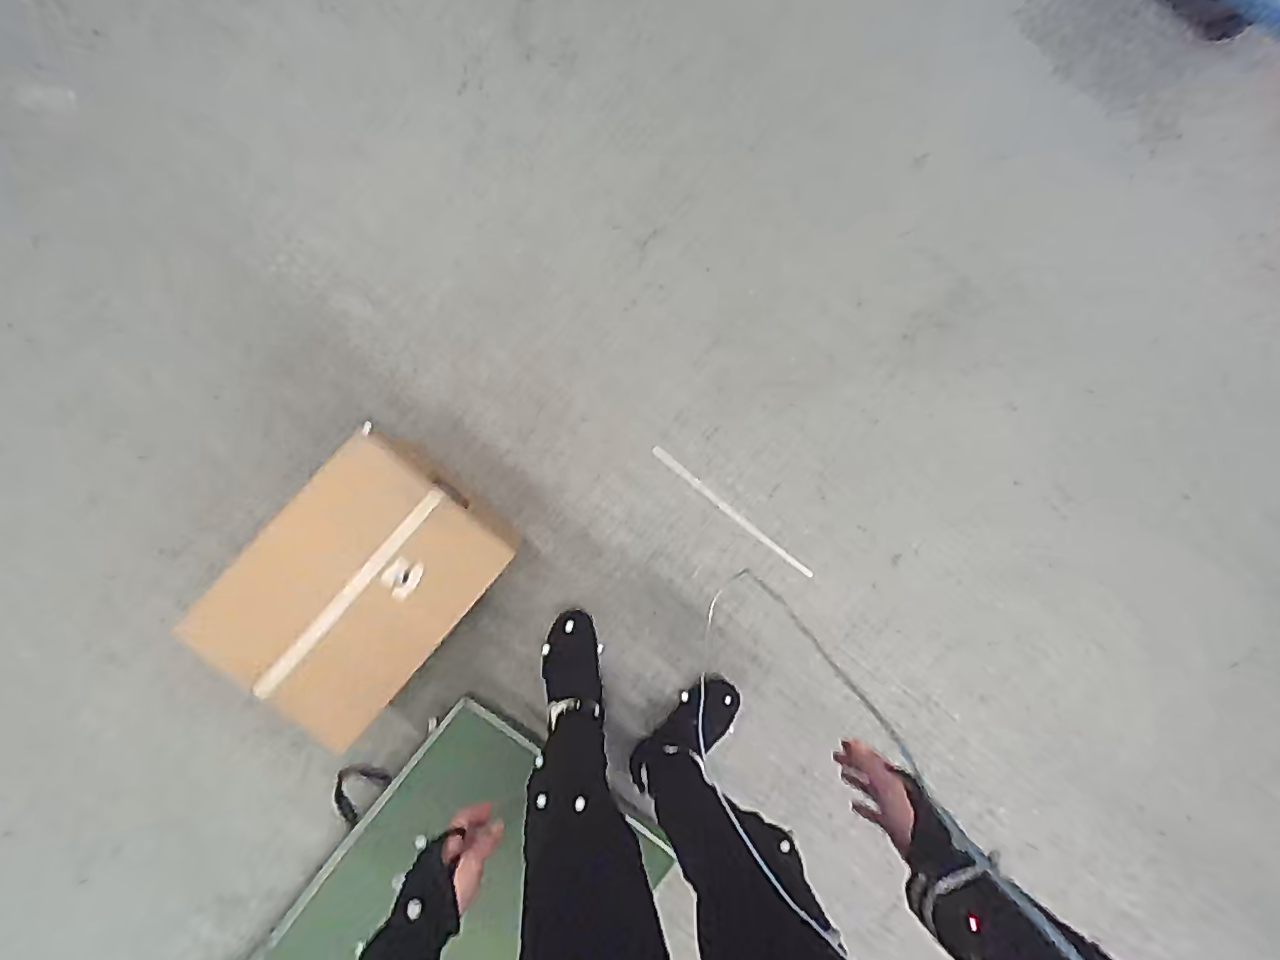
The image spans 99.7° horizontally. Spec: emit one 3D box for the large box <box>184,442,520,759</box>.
[{"bbox_3d":[-0.471,0.192,0.990,0.320,0.320,0.408,41,83,-7],"label":"large box"}]
